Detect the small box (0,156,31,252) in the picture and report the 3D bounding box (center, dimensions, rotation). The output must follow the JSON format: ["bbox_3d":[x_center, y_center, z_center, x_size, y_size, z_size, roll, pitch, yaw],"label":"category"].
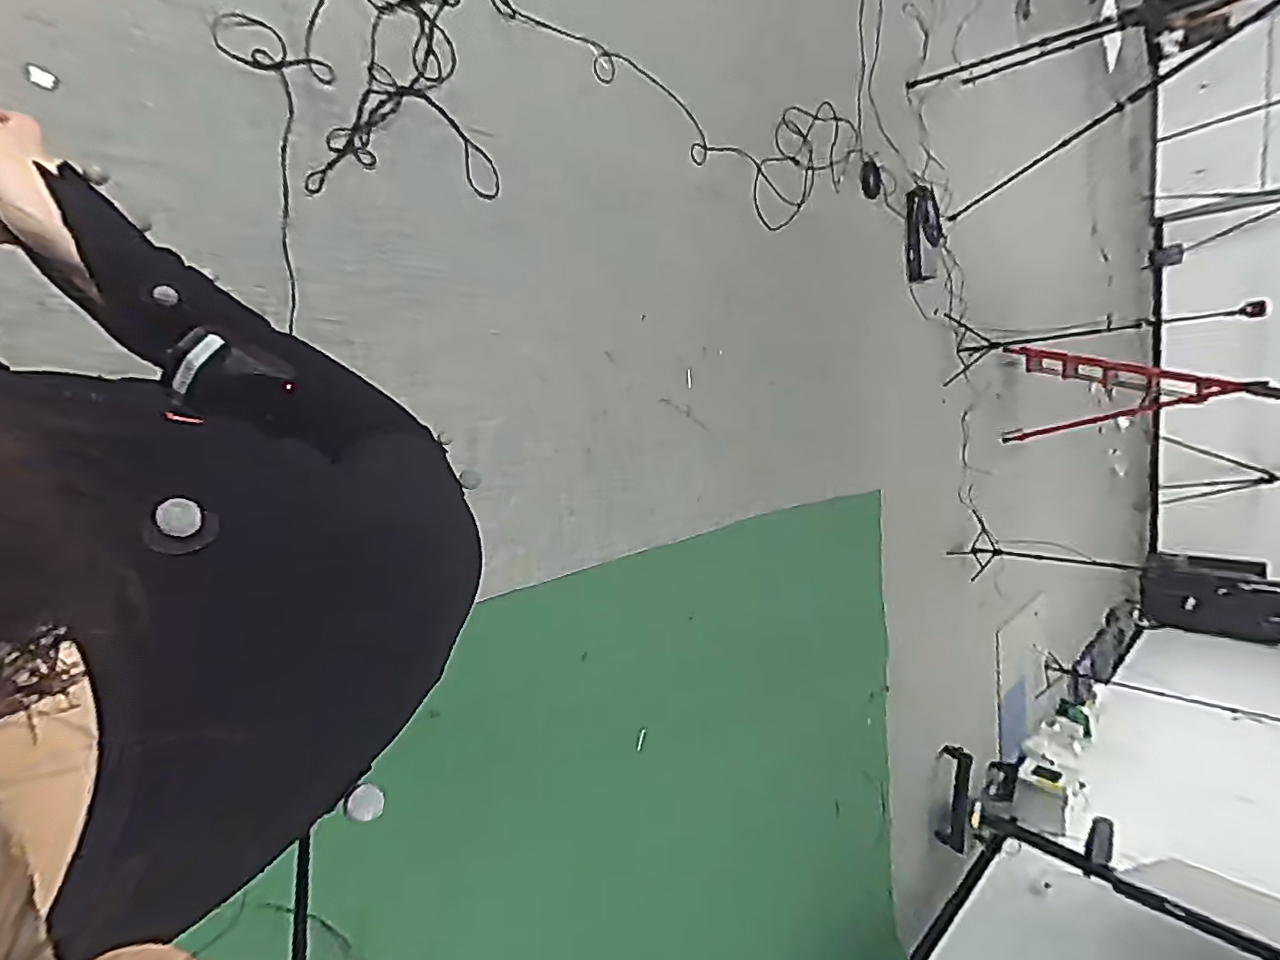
[{"bbox_3d":[-0.495,-0.223,0.296,0.168,0.176,0.179,-22,114,-36],"label":"small box"}]
